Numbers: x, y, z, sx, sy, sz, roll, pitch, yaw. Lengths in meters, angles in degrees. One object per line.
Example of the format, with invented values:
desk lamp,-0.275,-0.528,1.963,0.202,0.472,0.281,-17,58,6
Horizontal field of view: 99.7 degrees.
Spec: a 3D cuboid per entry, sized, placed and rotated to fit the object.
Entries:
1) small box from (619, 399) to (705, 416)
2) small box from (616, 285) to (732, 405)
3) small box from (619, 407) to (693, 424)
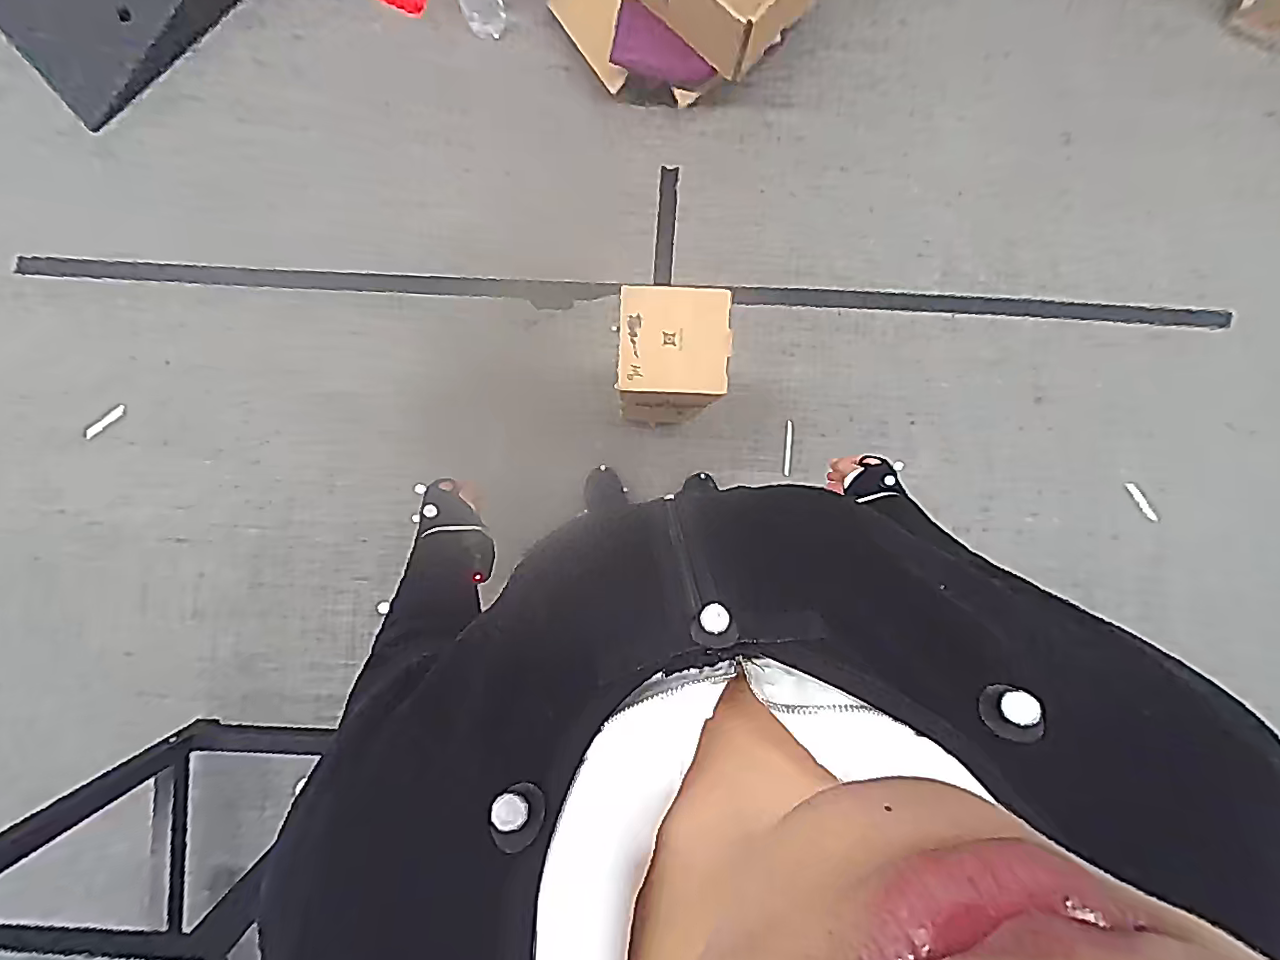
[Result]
small box,0.044,-0.224,1.093,0.168,0.176,0.179,3,91,-2
small box,0.050,-0.221,0.929,0.179,0.176,0.168,3,91,-3
small box,0.039,-0.227,1.256,0.168,0.176,0.179,4,93,-1
